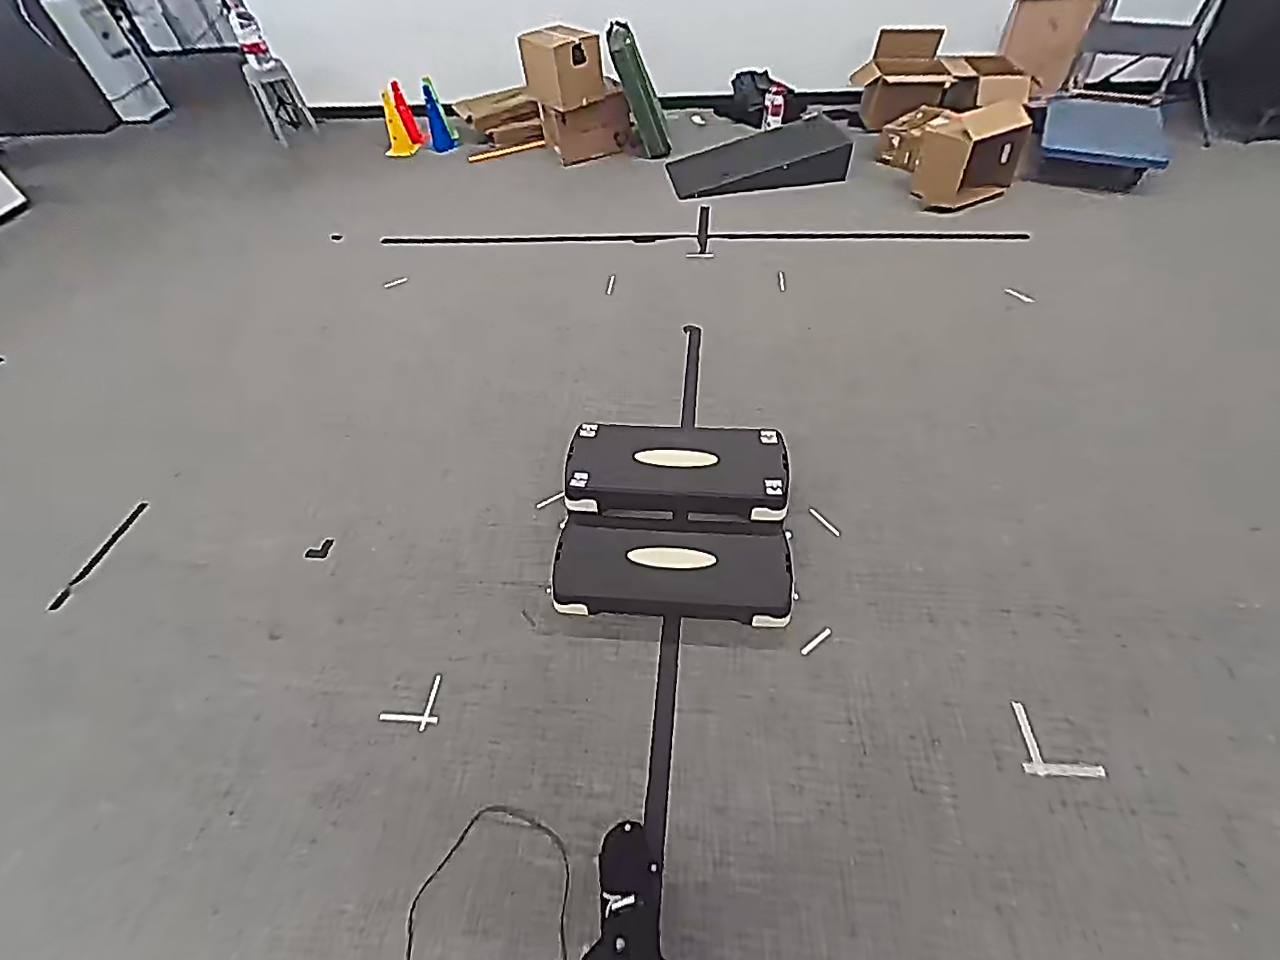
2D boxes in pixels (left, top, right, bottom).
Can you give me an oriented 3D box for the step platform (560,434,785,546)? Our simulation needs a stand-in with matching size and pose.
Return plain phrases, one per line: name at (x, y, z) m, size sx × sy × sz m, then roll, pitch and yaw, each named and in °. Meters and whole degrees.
step platform at (0.098, 0.023, 1.678) m, size 0.684 × 0.204 × 0.286 m, roll 2°, pitch 52°, yaw 5°
